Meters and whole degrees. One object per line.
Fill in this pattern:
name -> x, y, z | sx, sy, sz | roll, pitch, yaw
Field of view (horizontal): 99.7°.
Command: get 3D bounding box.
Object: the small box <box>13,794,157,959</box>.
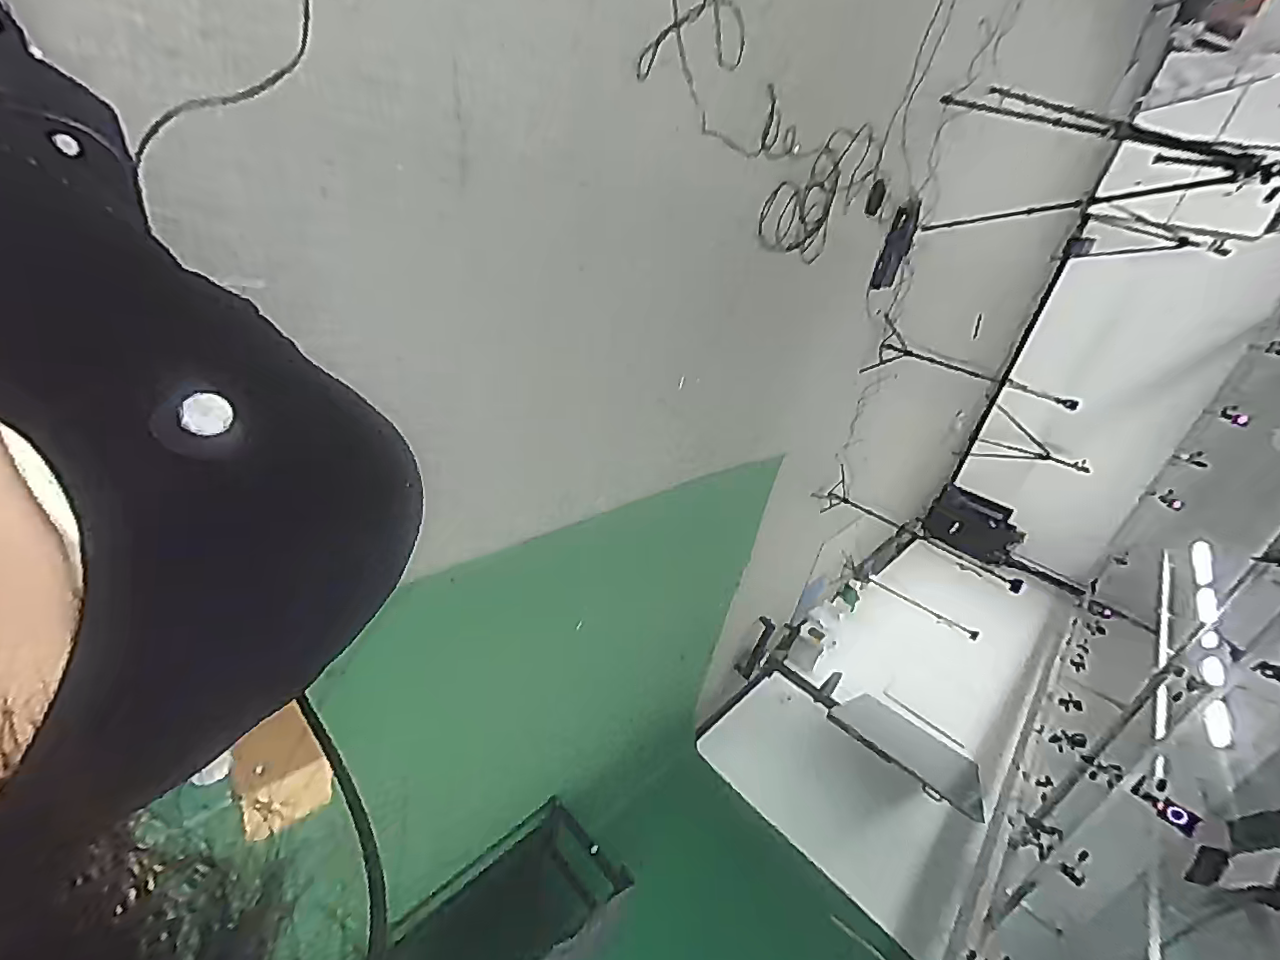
small box -> -1.071, 0.750, 1.047 | 0.168, 0.176, 0.179 | -13, 123, -48

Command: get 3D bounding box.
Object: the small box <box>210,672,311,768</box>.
small box -> -0.962, 0.626, 1.377 | 0.179, 0.176, 0.168 | -14, 125, -44

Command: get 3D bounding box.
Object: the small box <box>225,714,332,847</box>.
small box -> -0.854, 0.697, 1.274 | 0.179, 0.176, 0.168 | -15, 127, -45
